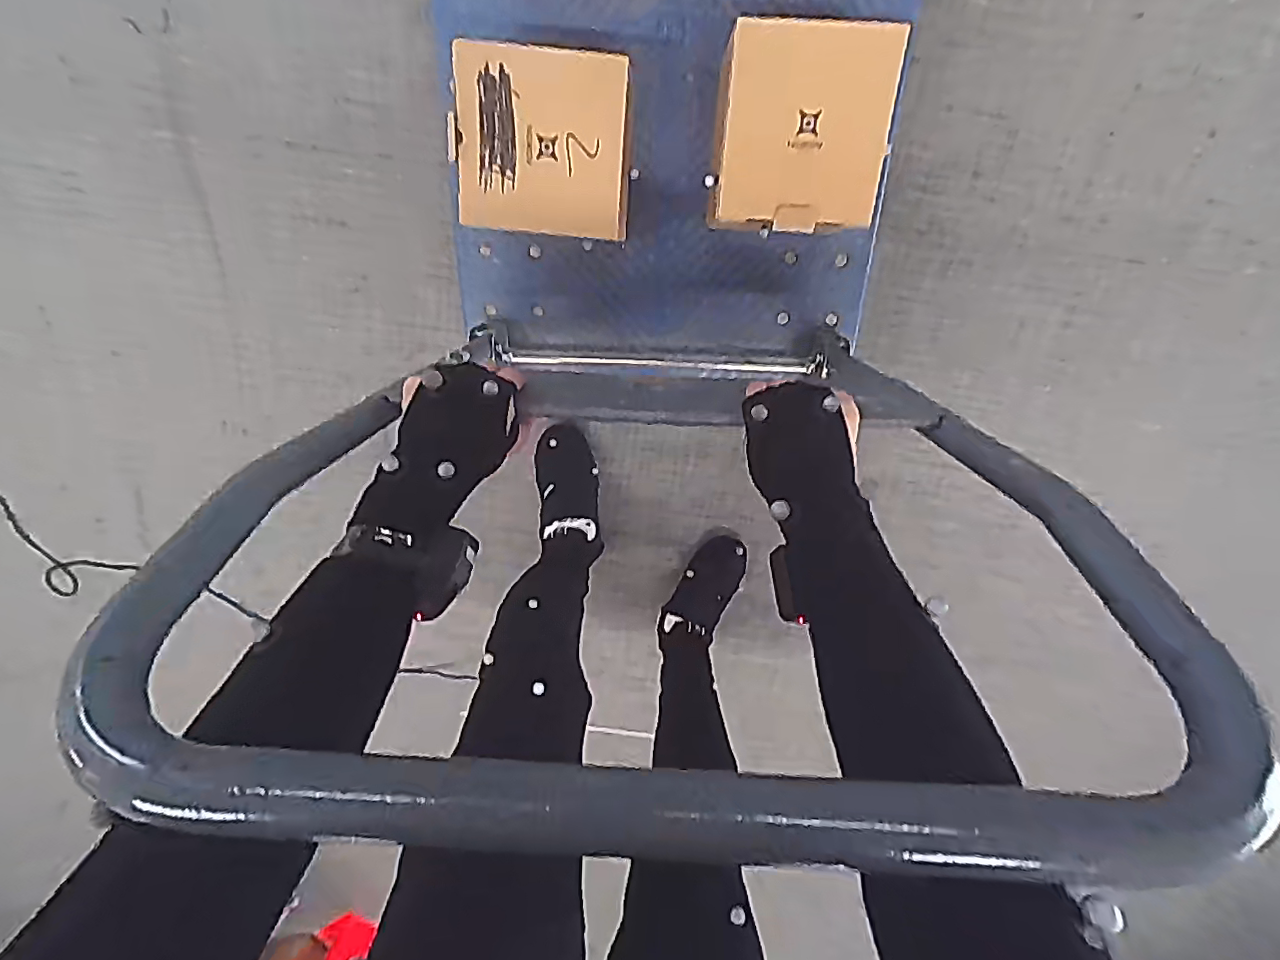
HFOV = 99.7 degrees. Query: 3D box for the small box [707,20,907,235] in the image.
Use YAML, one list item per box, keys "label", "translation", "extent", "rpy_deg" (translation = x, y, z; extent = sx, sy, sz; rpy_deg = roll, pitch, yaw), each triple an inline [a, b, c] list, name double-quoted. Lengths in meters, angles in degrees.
- label: "small box"
  translation: [0.170, -0.381, 0.617]
  extent: [0.168, 0.176, 0.179]
  rpy_deg: [3, 114, 1]
